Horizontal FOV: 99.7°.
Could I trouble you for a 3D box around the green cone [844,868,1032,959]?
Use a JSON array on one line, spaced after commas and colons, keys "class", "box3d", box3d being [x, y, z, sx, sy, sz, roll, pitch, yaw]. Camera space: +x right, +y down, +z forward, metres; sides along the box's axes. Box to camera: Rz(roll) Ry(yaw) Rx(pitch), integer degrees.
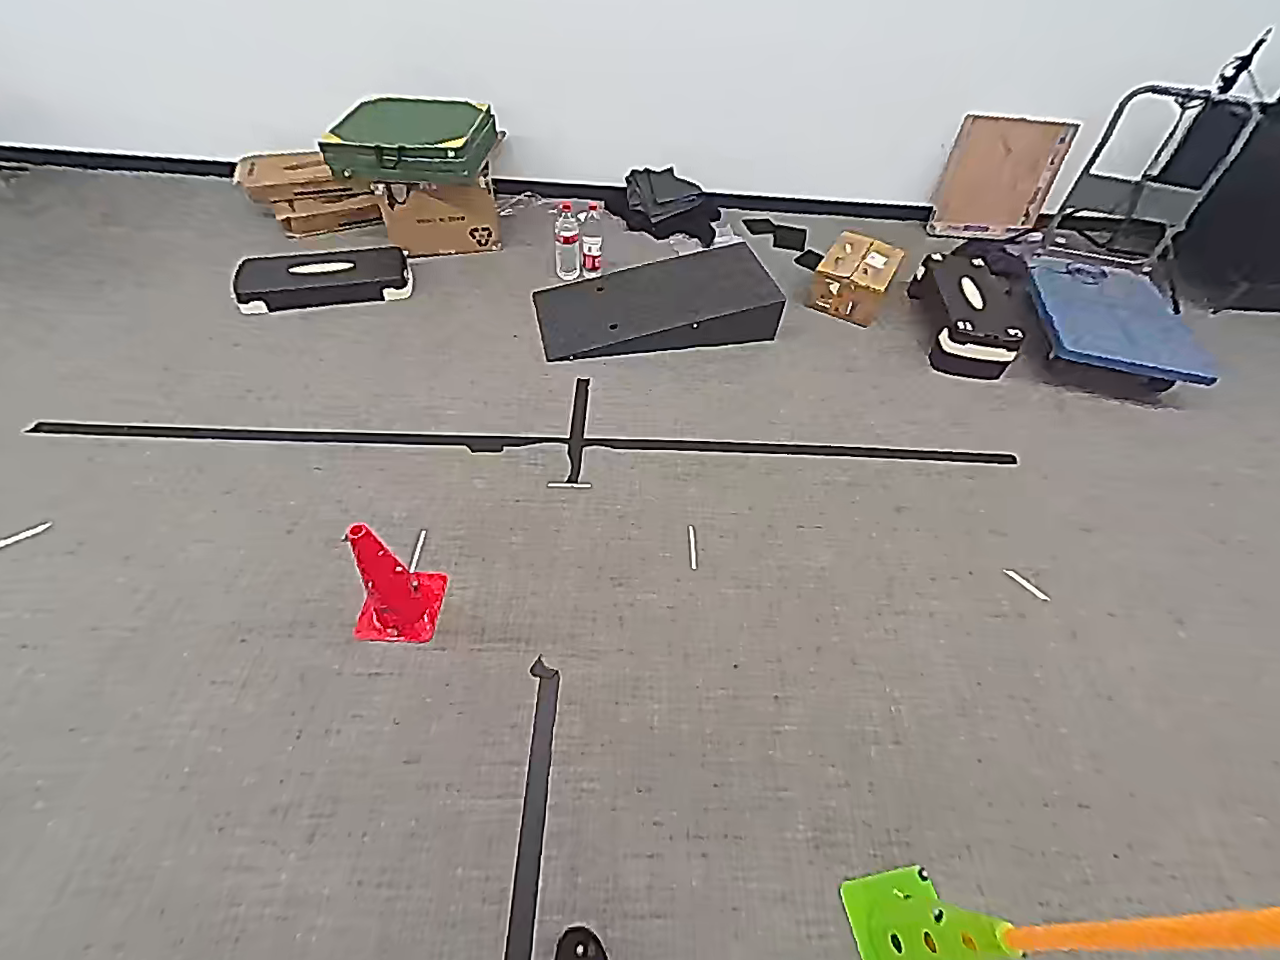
[{"class": "green cone", "box3d": [0.533, 0.791, 0.926, 0.200, 0.368, 0.202, -6, 53, -9]}]
